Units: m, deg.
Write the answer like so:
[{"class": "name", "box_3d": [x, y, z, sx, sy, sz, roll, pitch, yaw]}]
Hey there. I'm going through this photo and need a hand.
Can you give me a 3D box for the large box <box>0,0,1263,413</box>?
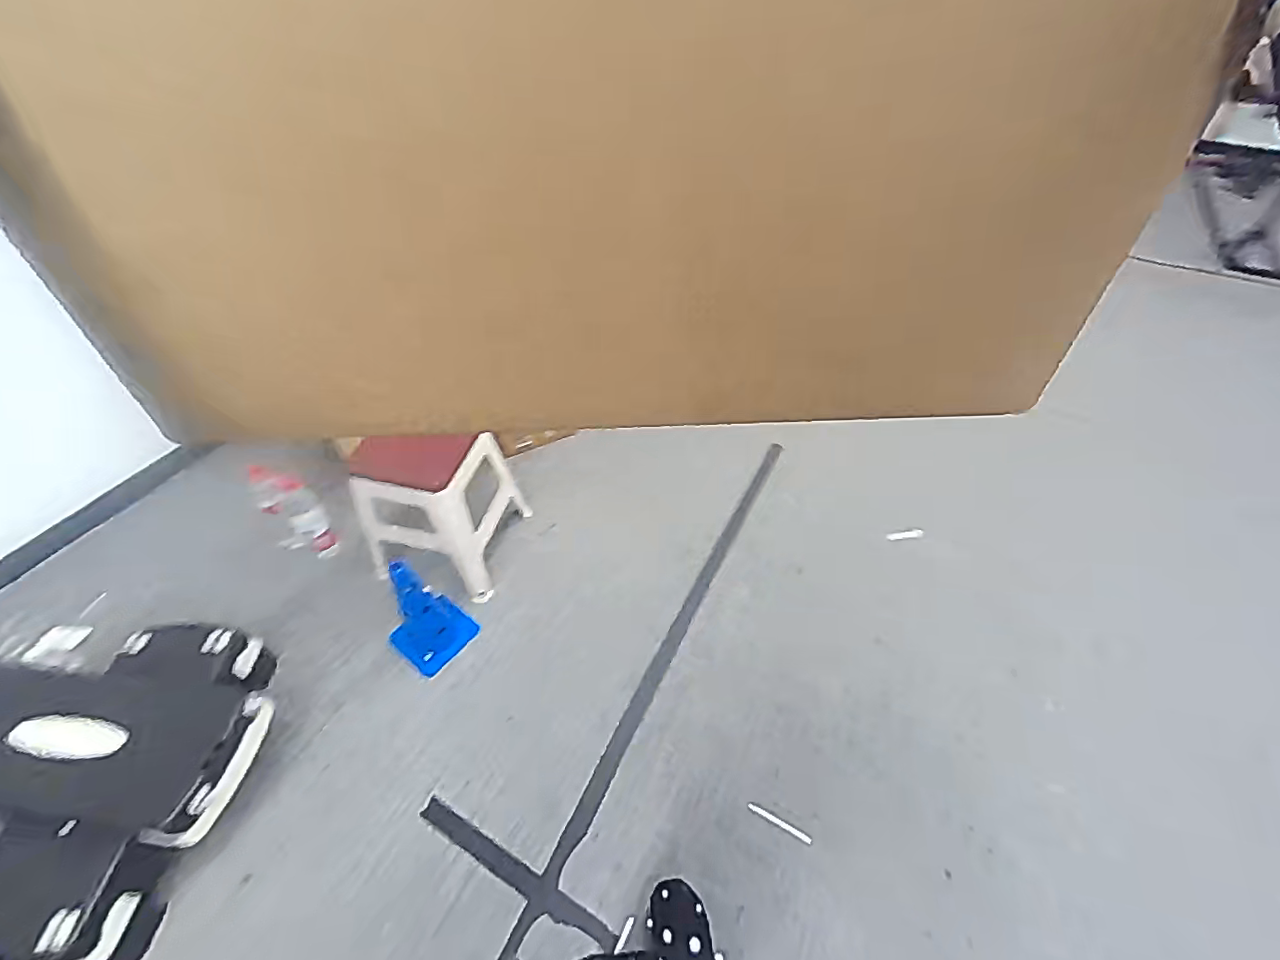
[{"class": "large box", "box_3d": [-0.012, -0.244, 0.262, 0.408, 0.320, 0.320, -1, 44, -2]}]
